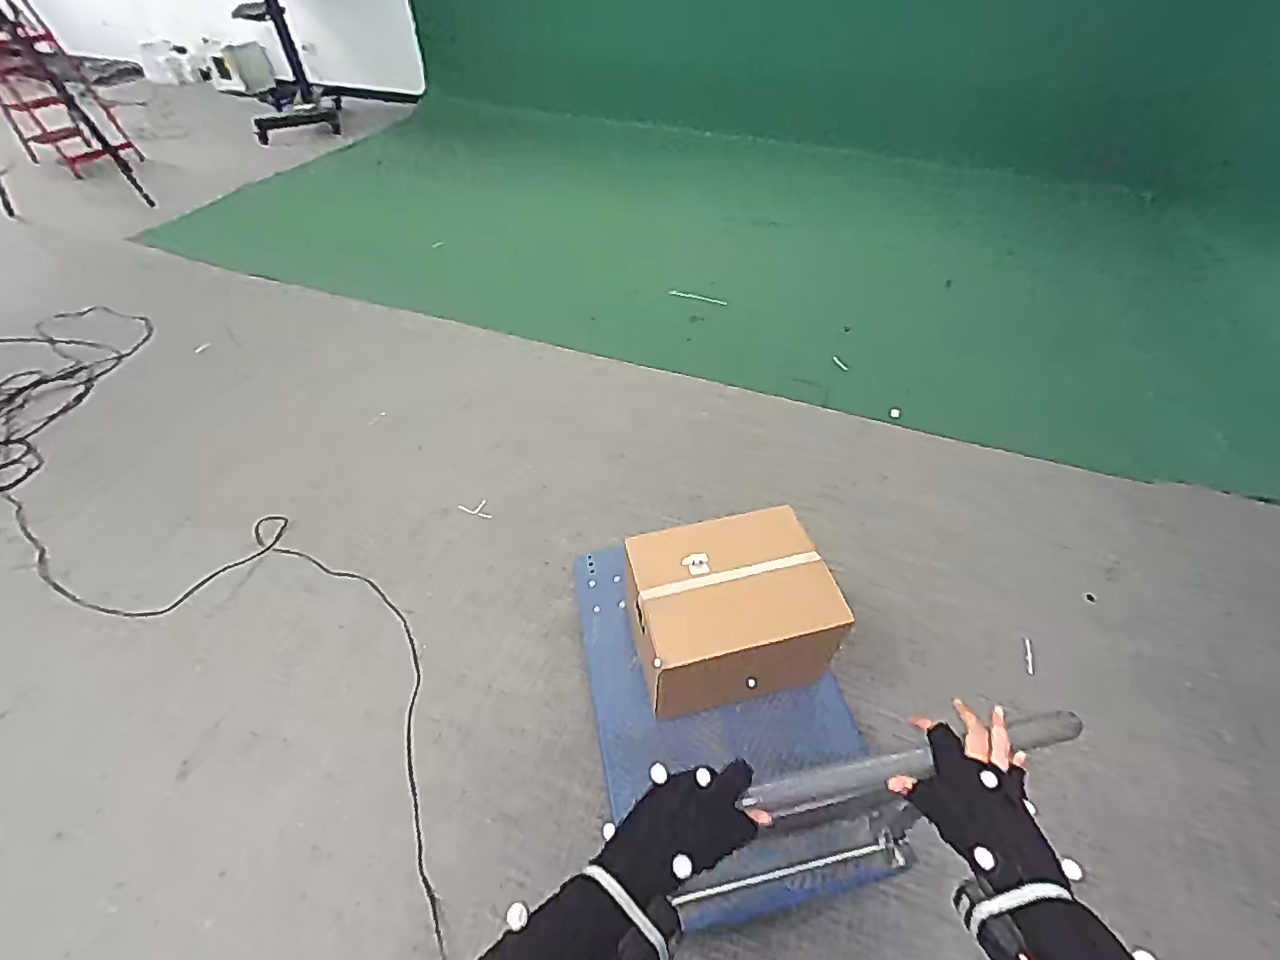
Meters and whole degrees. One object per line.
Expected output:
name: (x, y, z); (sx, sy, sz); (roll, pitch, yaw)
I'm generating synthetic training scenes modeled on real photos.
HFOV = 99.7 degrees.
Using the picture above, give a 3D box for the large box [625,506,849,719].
large box: (0.198, 0.310, 1.262); (0.408, 0.320, 0.320); (-12, 49, -9)
